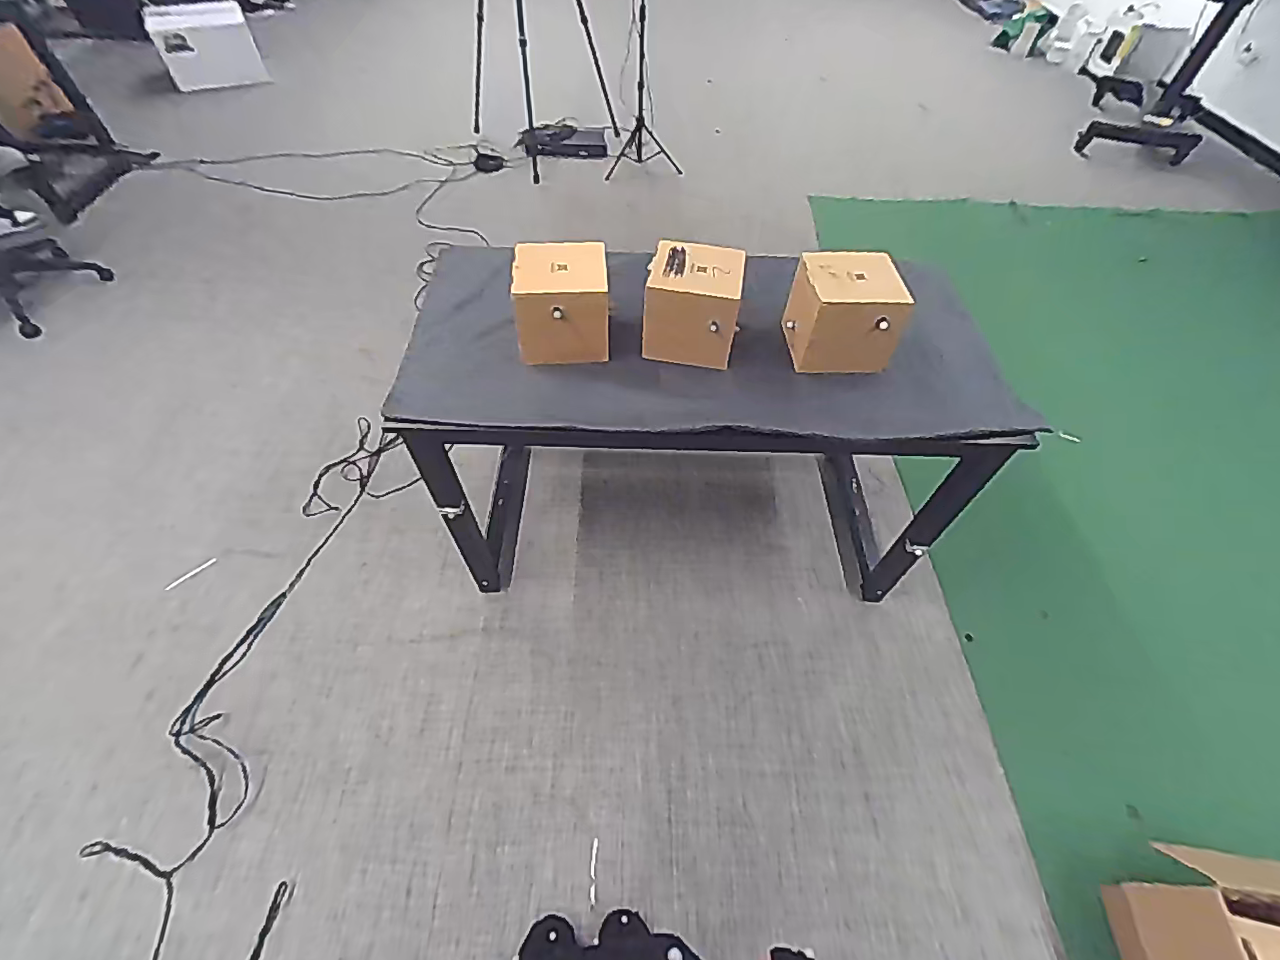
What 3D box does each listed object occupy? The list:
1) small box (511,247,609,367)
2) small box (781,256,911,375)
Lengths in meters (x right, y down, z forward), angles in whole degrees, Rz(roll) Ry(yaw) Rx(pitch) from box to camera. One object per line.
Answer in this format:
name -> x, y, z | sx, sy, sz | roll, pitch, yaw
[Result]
small box -> -0.152, -0.341, 1.079 | 0.179, 0.176, 0.168 | -4, 53, -4
small box -> 0.400, -0.325, 1.082 | 0.179, 0.176, 0.168 | -1, 52, -2
